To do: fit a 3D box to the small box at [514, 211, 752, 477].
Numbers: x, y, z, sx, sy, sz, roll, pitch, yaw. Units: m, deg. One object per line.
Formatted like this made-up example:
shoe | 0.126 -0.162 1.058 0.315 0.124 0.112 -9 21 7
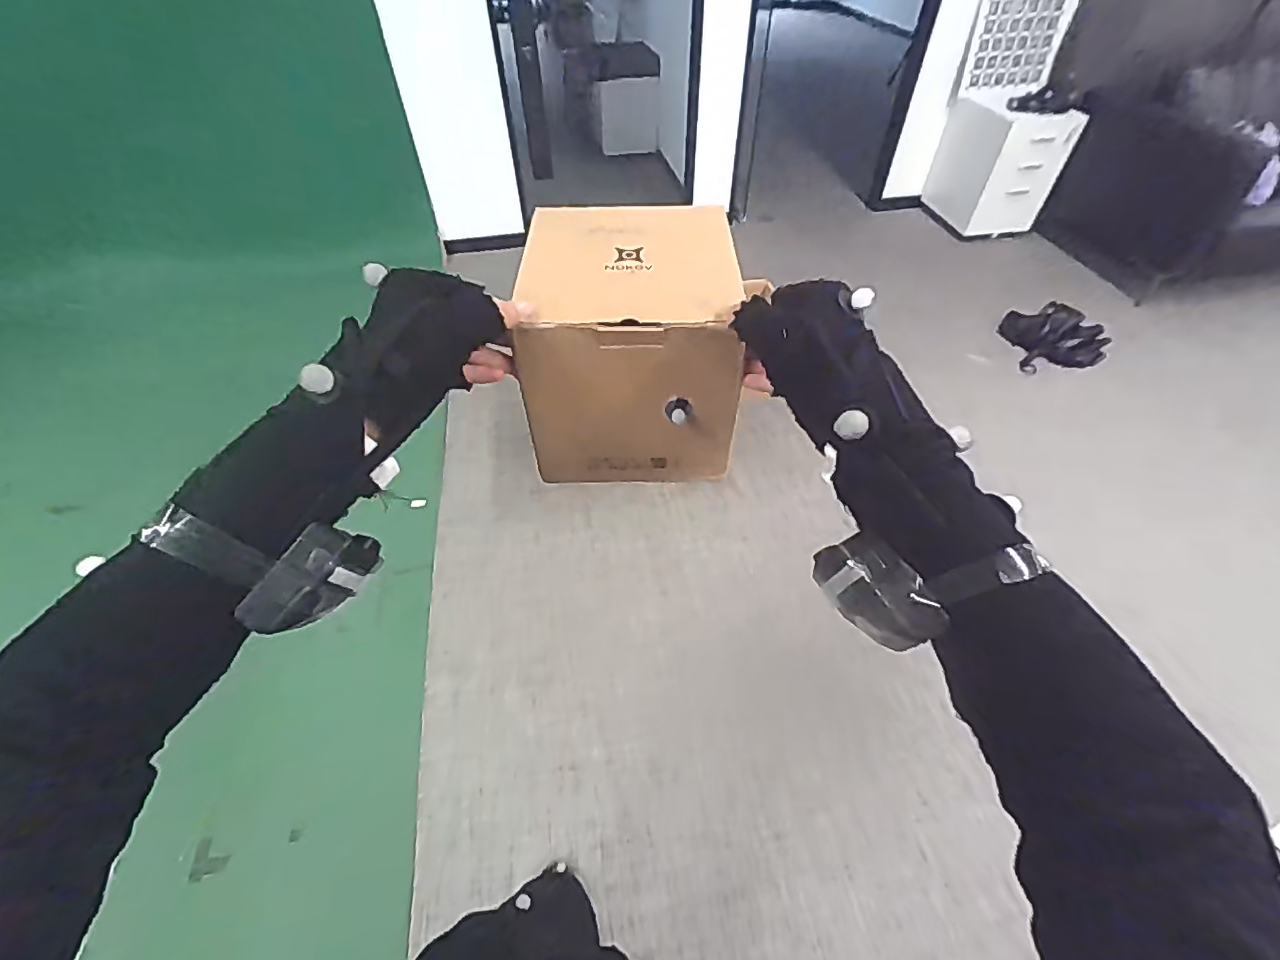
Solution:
small box | -0.004 -0.115 0.478 0.168 0.176 0.179 -1 48 -1
